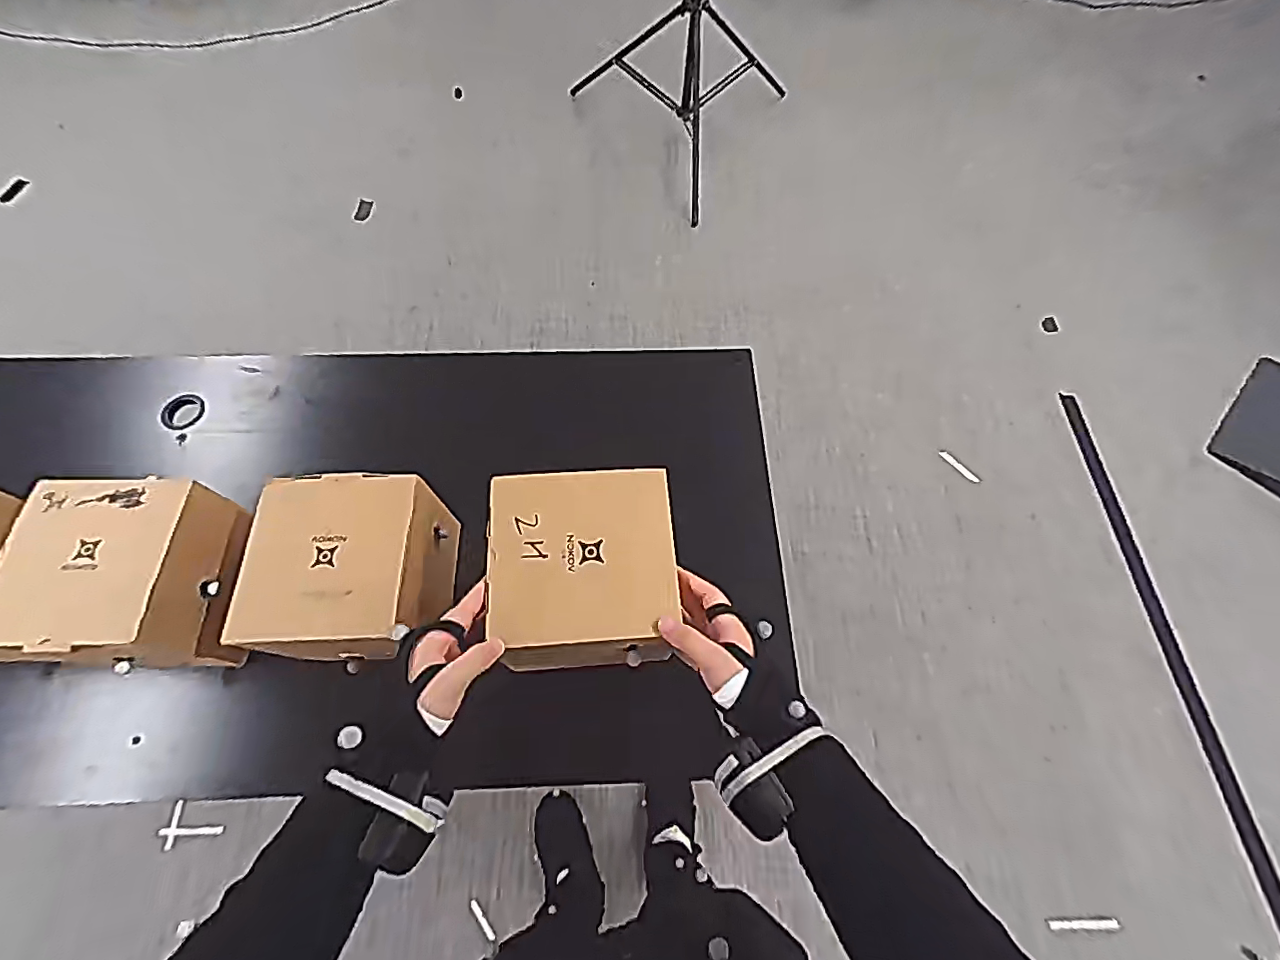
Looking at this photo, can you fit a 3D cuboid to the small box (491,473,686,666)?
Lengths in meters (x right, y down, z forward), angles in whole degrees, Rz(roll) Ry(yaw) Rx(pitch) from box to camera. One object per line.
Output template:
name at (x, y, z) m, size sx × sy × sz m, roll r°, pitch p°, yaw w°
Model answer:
small box at (-0.054, 0.103, 0.585) m, size 0.179 × 0.176 × 0.168 m, roll -3°, pitch 65°, yaw -4°

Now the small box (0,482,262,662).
small box at (-0.555, 0.113, 0.620) m, size 0.168 × 0.176 × 0.179 m, roll 0°, pitch 66°, yaw -3°

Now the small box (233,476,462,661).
small box at (-0.316, 0.109, 0.630) m, size 0.168 × 0.176 × 0.179 m, roll -2°, pitch 67°, yaw -1°
